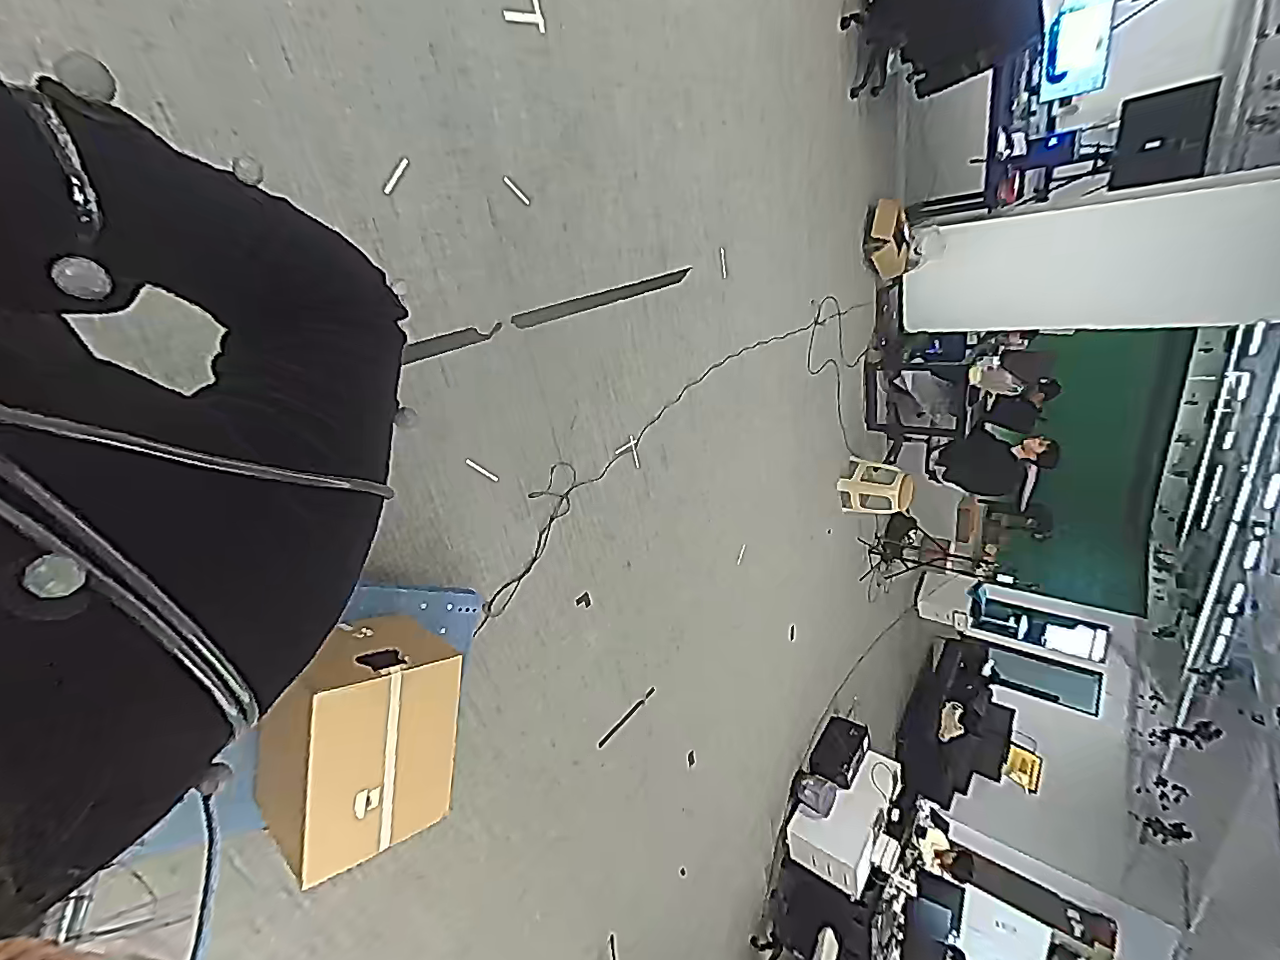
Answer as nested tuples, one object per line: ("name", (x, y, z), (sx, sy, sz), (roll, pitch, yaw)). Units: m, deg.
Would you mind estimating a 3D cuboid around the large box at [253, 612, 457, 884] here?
("large box", (-0.649, 0.562, 1.227), (0.320, 0.320, 0.408), (1, 99, -49))
